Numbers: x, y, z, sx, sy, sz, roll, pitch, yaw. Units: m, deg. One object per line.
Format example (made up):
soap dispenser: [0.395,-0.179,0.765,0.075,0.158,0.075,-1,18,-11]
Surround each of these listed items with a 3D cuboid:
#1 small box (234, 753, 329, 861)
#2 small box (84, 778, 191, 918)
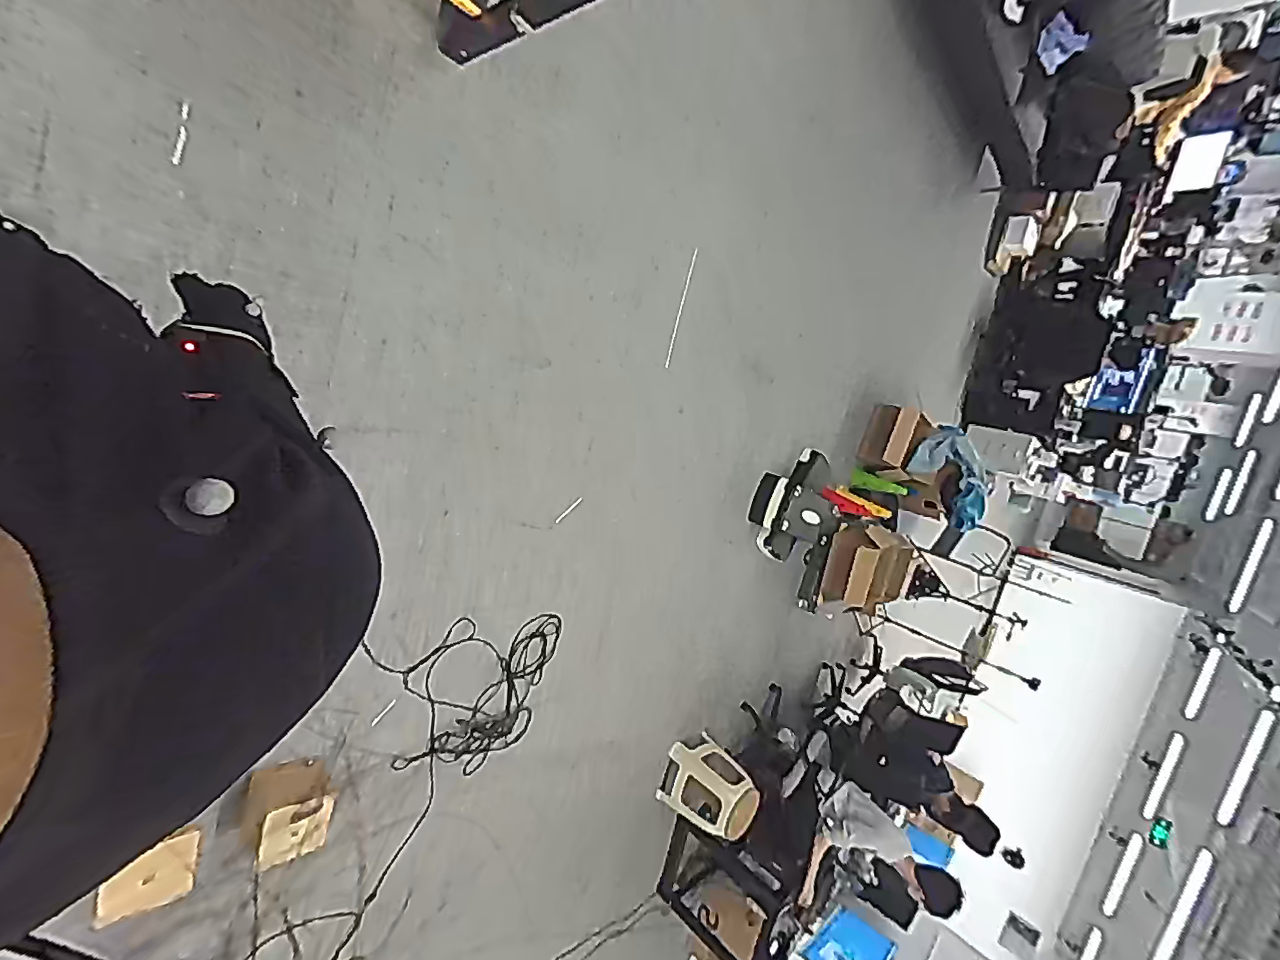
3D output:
small box: [-0.986,0.881,1.482,0.168,0.176,0.179,12,98,-49]
small box: [-1.176,0.846,1.264,0.168,0.176,0.179,4,102,-48]
